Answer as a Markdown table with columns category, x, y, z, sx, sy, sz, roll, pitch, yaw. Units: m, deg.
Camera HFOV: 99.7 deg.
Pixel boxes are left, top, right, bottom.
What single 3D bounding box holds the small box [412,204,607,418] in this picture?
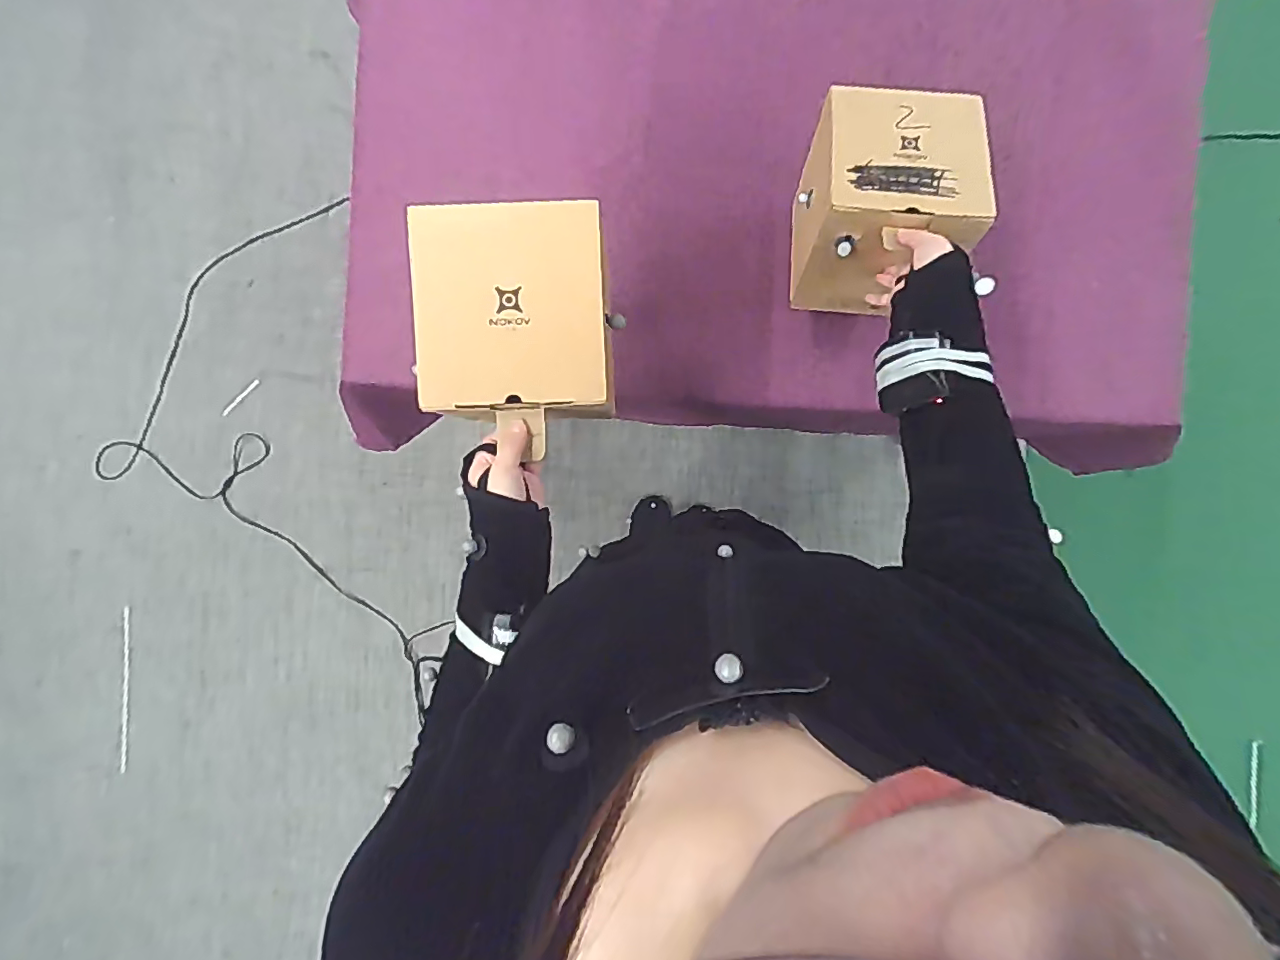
| category | x | y | z | sx | sy | sz | roll | pitch | yaw |
| --- | --- | --- | --- | --- | --- | --- | --- | --- | --- |
| small box | -0.121 | -0.160 | 0.562 | 0.168 | 0.176 | 0.179 | -2 | 93 | -1 |
